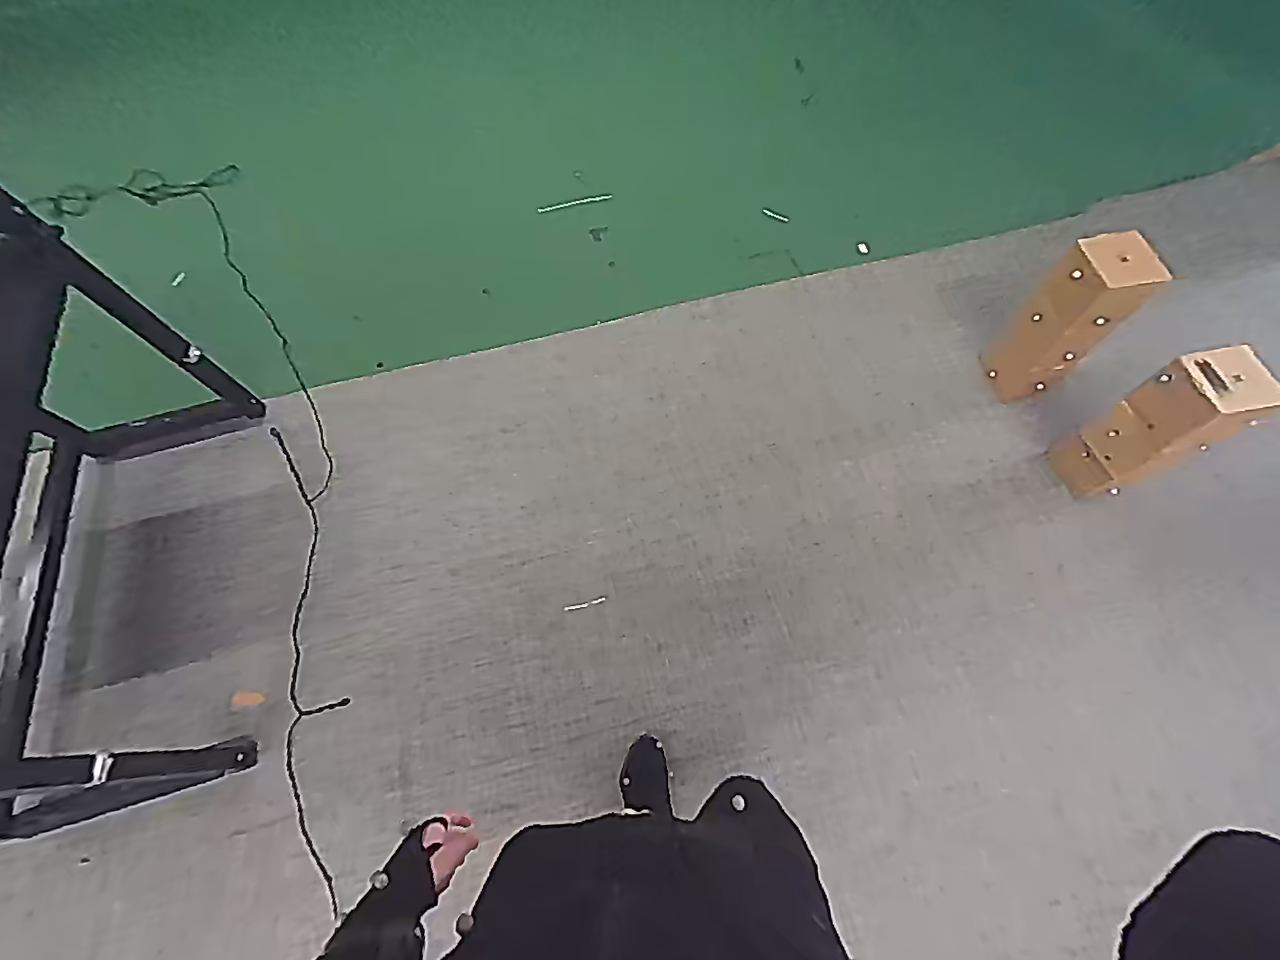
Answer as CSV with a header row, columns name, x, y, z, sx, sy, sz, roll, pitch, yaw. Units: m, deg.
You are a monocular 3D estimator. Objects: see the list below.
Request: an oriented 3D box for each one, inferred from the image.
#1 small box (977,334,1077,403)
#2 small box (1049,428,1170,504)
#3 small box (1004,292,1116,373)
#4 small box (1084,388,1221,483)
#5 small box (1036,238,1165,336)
name,x,y,z,sx,sy,sz,roll,pitch,yaw
small box,1.242,-0.366,1.750,0.168,0.176,0.179,-11,65,-3
small box,1.365,-0.051,1.590,0.168,0.176,0.179,-13,65,-3
small box,1.233,-0.444,1.605,0.168,0.176,0.179,-10,65,-2
small box,1.343,-0.113,1.441,0.179,0.176,0.168,-16,64,-5
small box,1.227,-0.517,1.459,0.168,0.176,0.179,-9,64,-1
